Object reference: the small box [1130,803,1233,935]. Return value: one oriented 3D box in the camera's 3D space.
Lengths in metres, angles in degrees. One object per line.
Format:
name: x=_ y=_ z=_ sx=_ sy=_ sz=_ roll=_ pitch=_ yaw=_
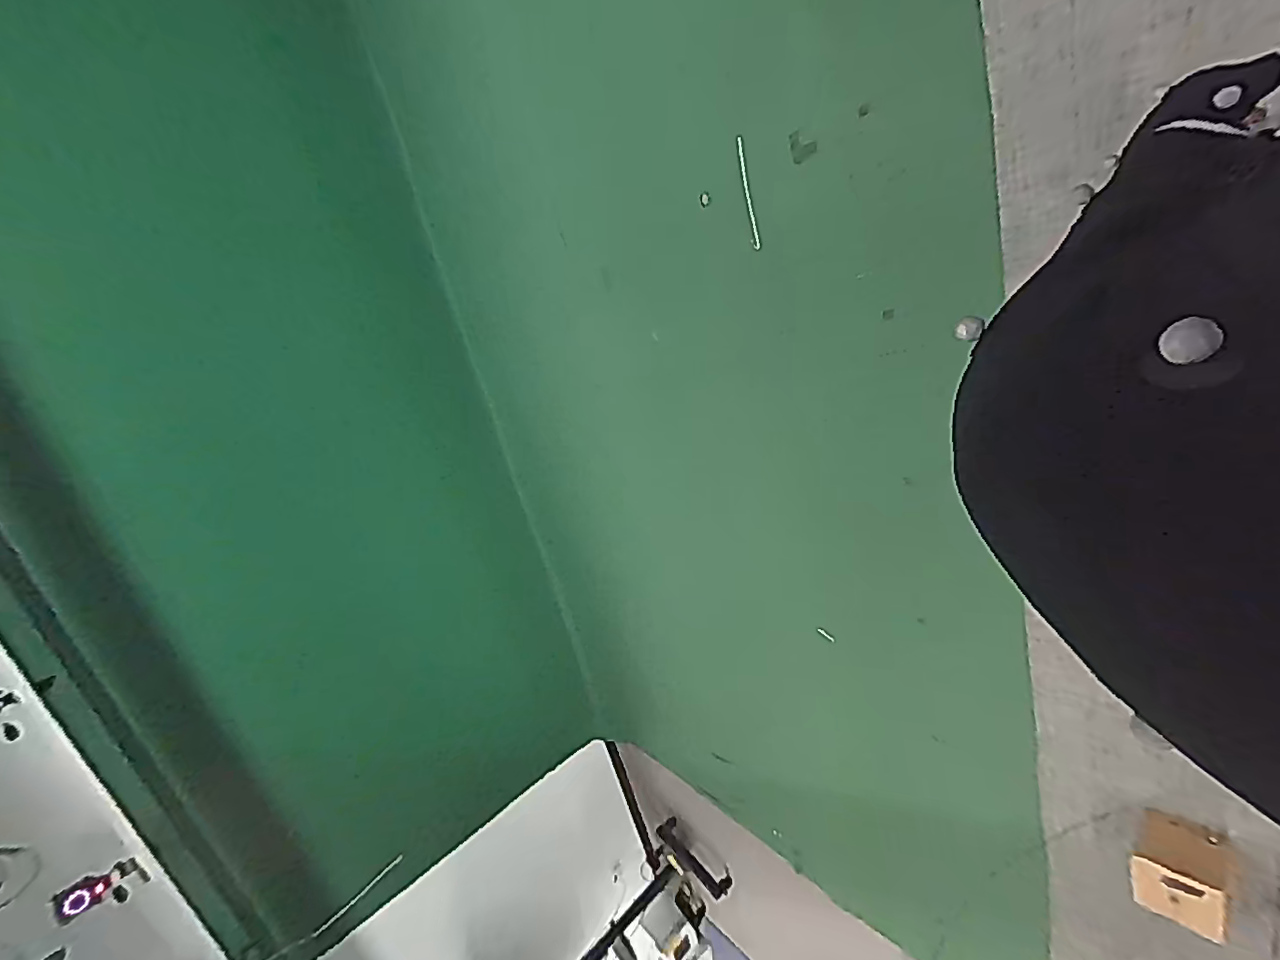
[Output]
small box: x=1.383 y=0.980 z=1.382 sx=0.168 sy=0.176 sz=0.179 roll=5 pitch=116 yaw=53
